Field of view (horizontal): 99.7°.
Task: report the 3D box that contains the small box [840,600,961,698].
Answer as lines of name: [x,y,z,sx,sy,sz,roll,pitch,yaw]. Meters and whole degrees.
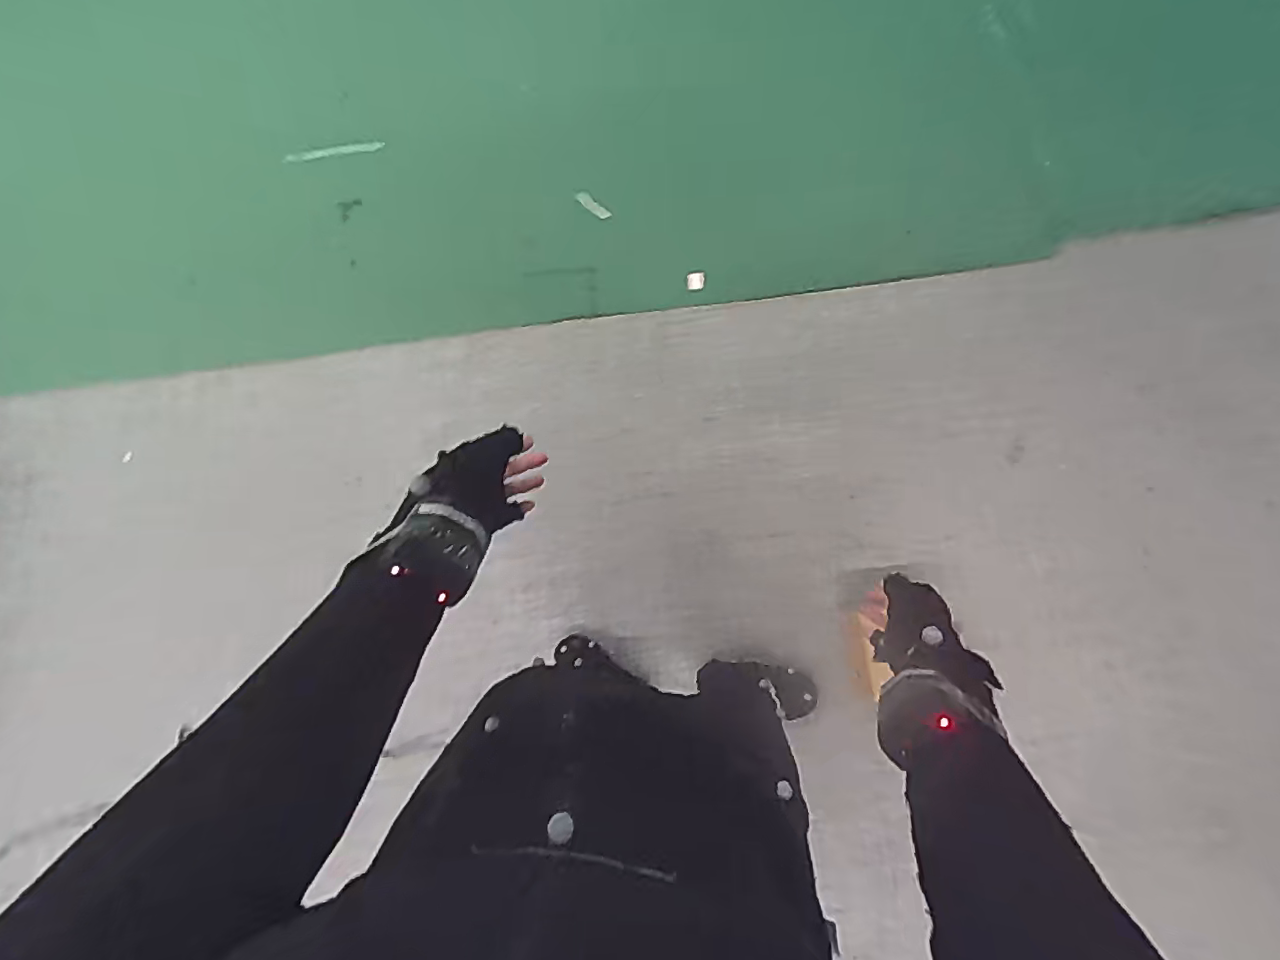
small box: [0.543,0.352,1.151,0.168,0.176,0.179,-8,77,3]
